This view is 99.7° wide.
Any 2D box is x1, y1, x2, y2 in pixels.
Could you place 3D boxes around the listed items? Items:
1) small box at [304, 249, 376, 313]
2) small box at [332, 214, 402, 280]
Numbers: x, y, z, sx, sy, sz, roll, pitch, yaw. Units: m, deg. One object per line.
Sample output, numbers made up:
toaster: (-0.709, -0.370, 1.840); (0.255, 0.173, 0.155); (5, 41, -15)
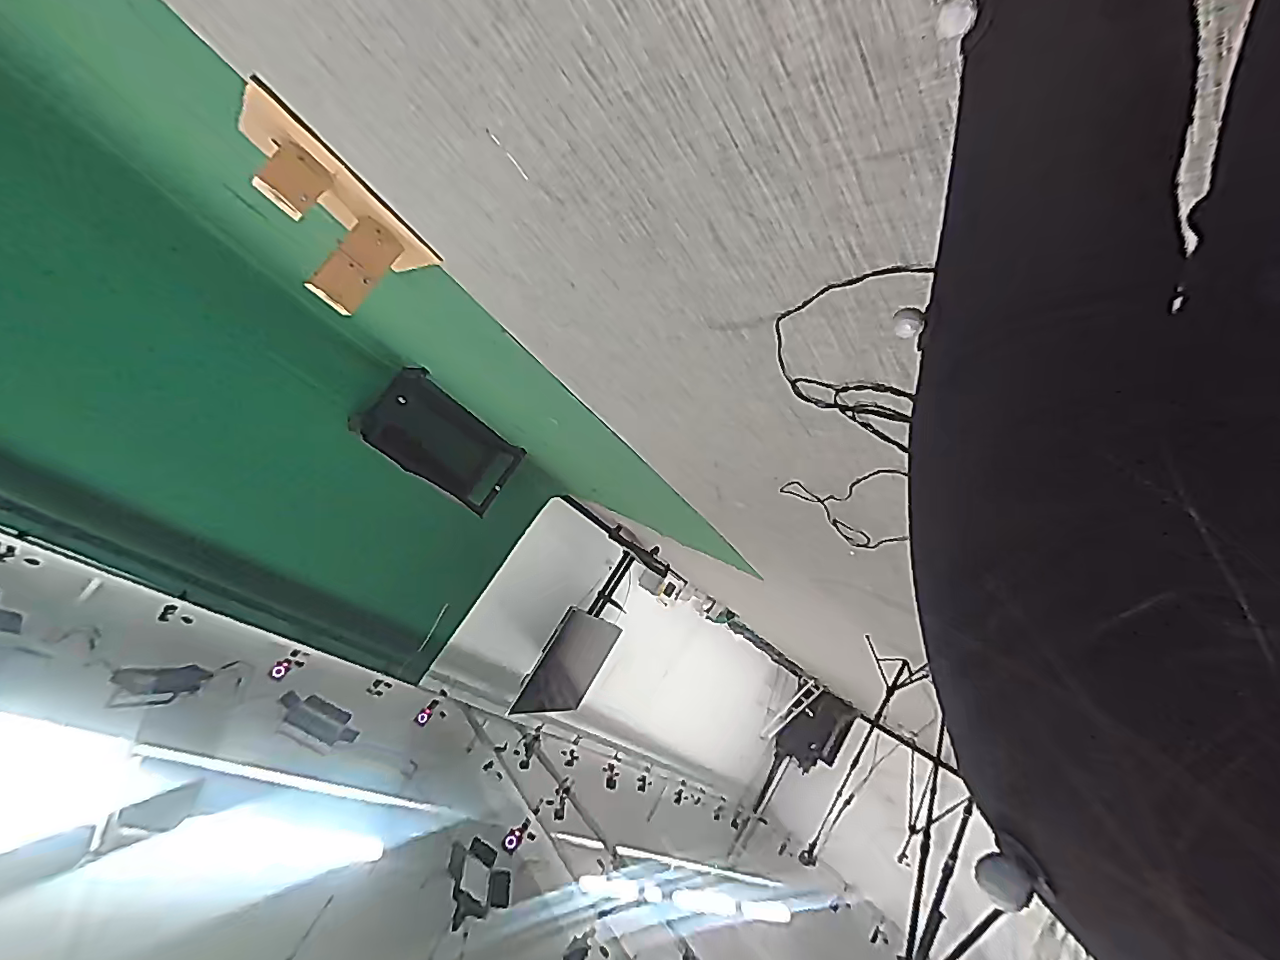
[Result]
small box: (-1.146, -0.761, 2.068); (0.179, 0.176, 0.168); (22, 165, 49)
small box: (-1.058, -0.897, 2.096); (0.179, 0.176, 0.168); (19, 164, 50)
